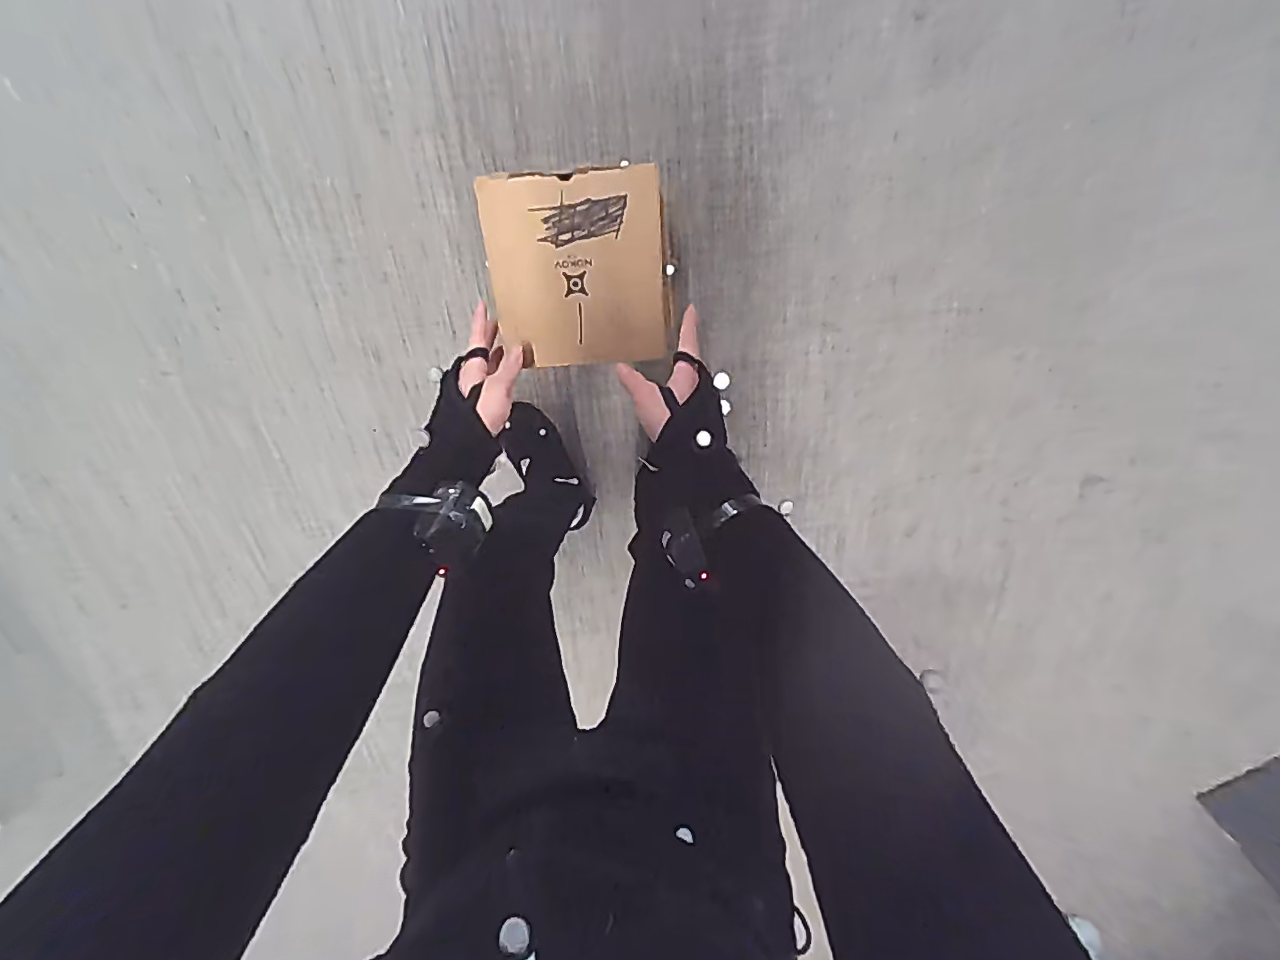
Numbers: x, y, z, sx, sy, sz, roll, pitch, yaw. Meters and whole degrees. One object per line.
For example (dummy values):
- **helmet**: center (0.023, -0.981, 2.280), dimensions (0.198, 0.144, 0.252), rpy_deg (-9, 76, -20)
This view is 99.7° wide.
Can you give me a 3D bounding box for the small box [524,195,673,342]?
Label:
- **small box**: center (-0.048, -0.290, 0.743), dimensions (0.179, 0.176, 0.168), rpy_deg (-4, 115, 1)
